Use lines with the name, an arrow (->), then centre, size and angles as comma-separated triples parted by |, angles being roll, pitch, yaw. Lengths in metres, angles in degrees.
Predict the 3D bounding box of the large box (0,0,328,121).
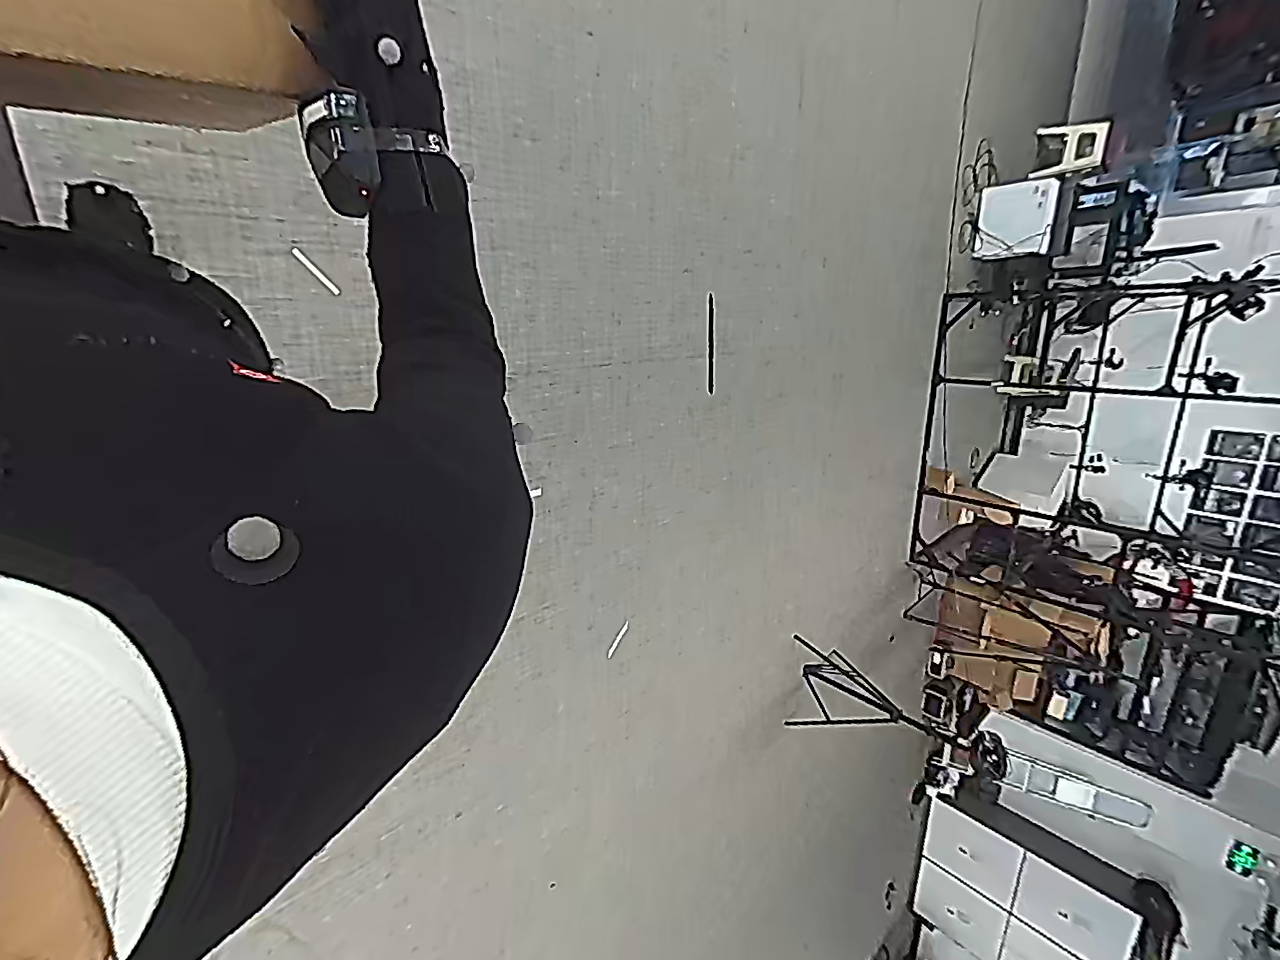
large box -> -0.454, -0.399, 0.276 | 0.408, 0.320, 0.320 | -21, 126, -39
